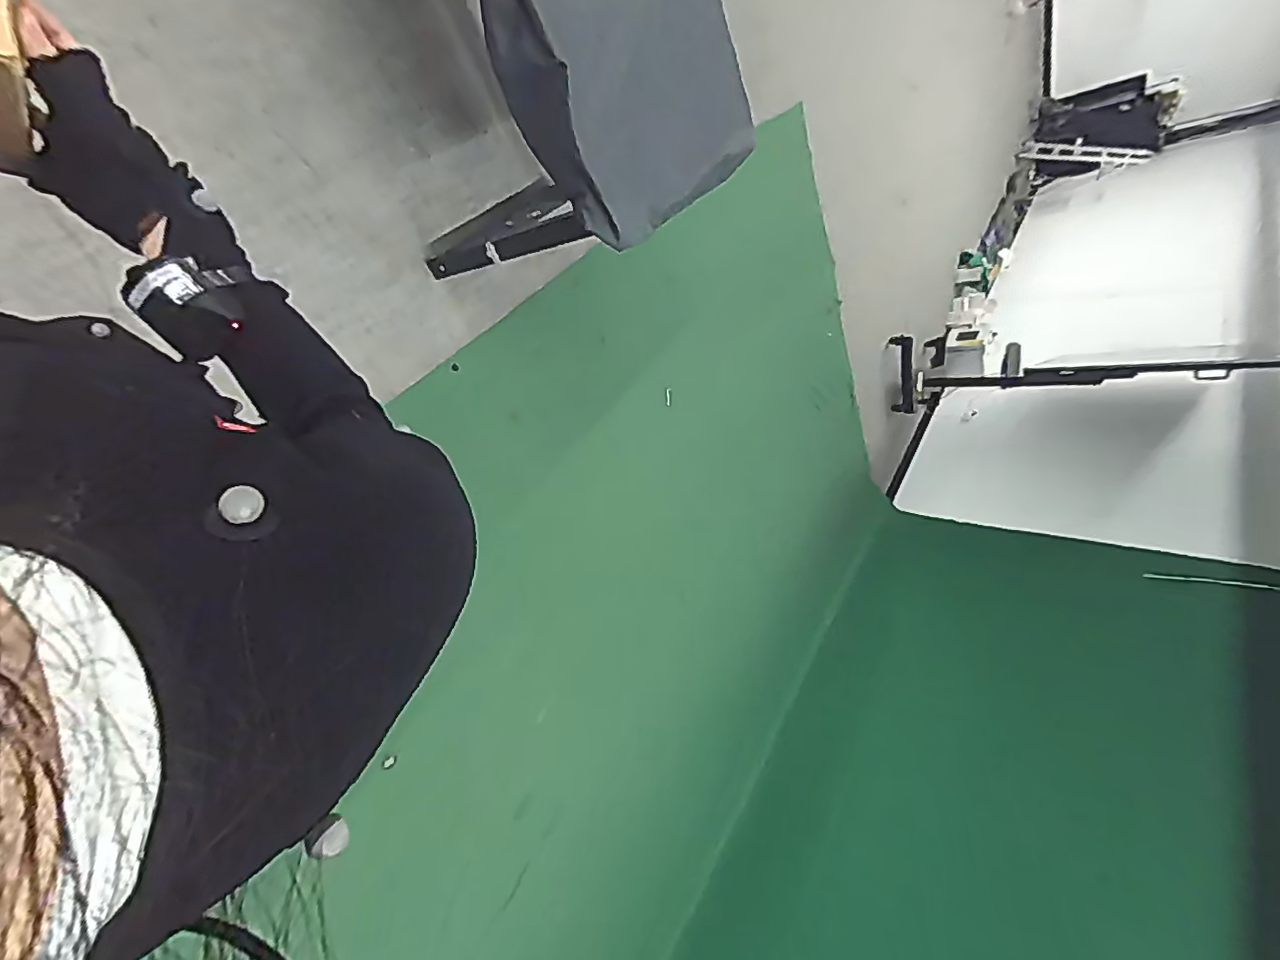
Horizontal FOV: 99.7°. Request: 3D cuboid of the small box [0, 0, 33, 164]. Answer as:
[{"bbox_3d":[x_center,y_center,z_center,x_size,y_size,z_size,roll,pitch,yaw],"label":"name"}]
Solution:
[{"bbox_3d":[-0.472,-0.319,0.300,0.168,0.176,0.179,-7,96,-46],"label":"small box"}]
